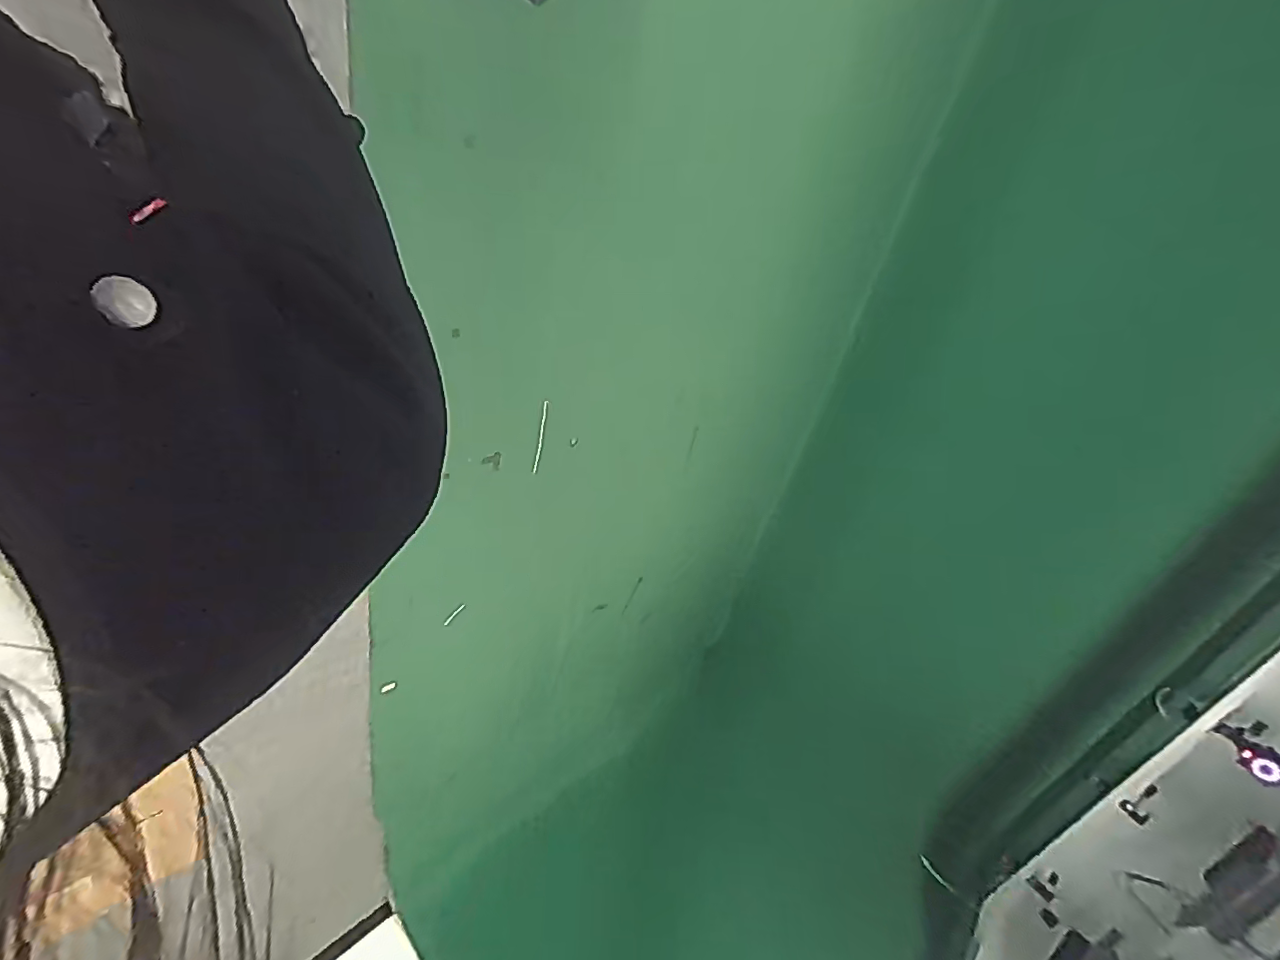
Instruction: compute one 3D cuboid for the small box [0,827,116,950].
[{"bbox_3d":[-1.571,1.089,1.457,0.179,0.176,0.168,-23,137,-43],"label":"small box"}]
